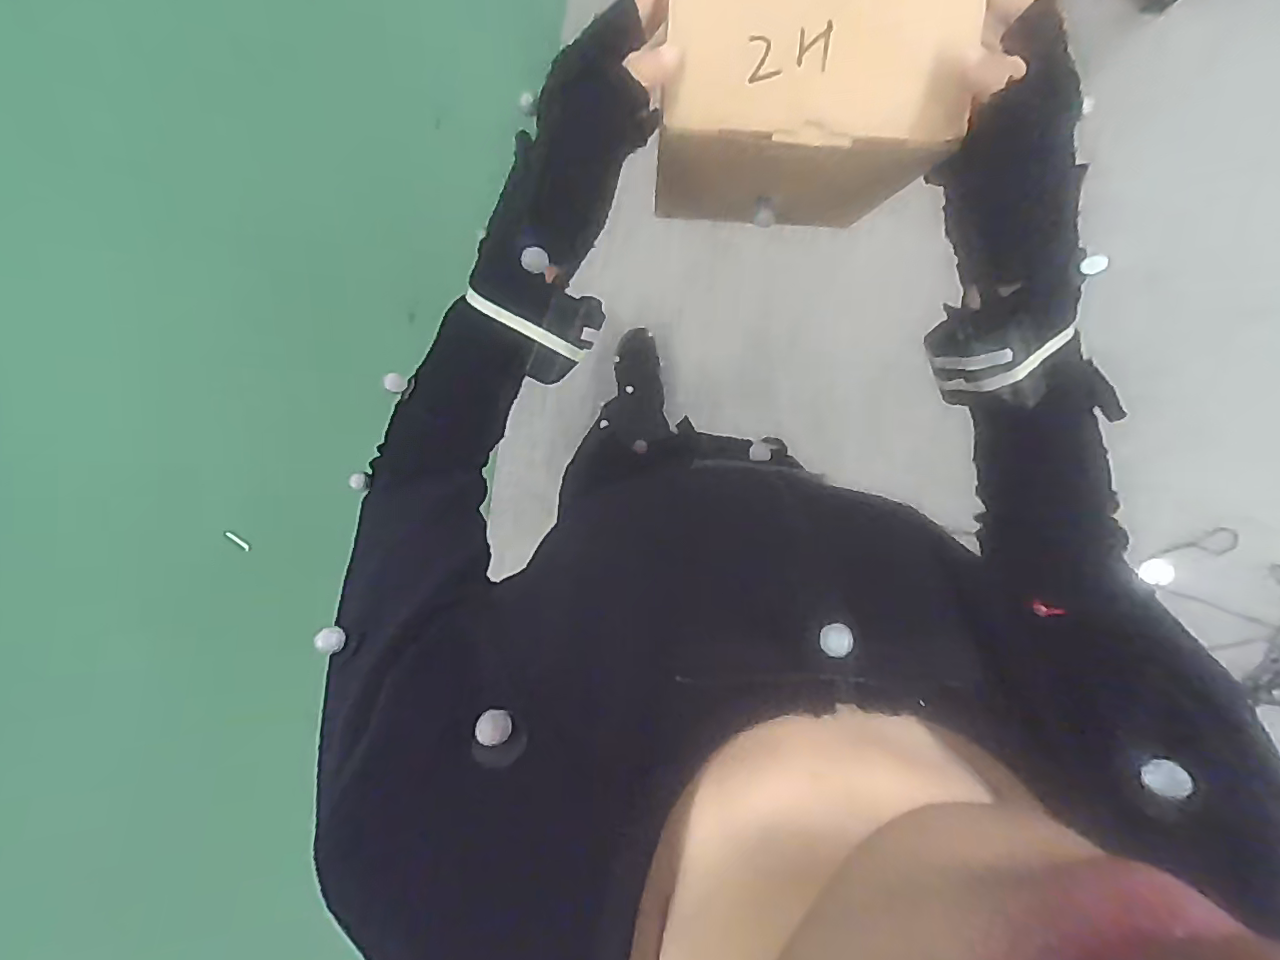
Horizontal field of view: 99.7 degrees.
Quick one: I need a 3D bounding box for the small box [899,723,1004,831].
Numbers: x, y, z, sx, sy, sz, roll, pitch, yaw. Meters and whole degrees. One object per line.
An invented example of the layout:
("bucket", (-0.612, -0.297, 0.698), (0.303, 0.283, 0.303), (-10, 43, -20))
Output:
("small box", (0.816, 0.782, 1.436), (0.168, 0.176, 0.179), (10, 94, 0))
